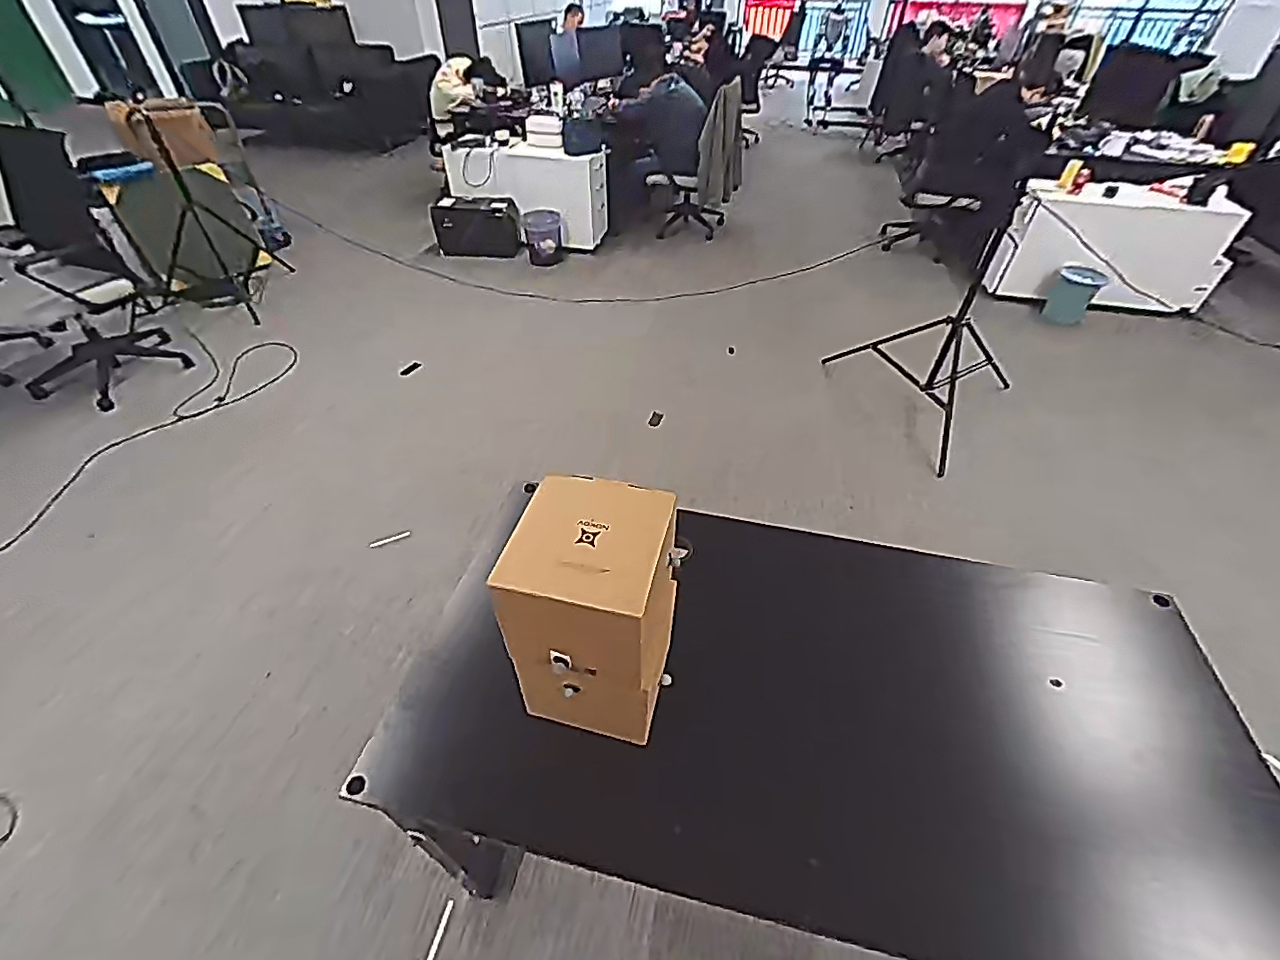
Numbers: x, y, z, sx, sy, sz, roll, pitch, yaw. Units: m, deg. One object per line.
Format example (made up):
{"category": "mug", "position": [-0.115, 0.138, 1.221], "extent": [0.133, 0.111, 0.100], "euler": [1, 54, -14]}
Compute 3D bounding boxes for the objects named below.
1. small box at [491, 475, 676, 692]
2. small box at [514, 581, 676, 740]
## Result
{"category": "small box", "position": [-0.056, 0.122, 0.651], "extent": [0.168, 0.176, 0.179], "euler": [9, 45, 10]}
{"category": "small box", "position": [-0.055, 0.240, 0.763], "extent": [0.179, 0.176, 0.168], "euler": [11, 44, 9]}
